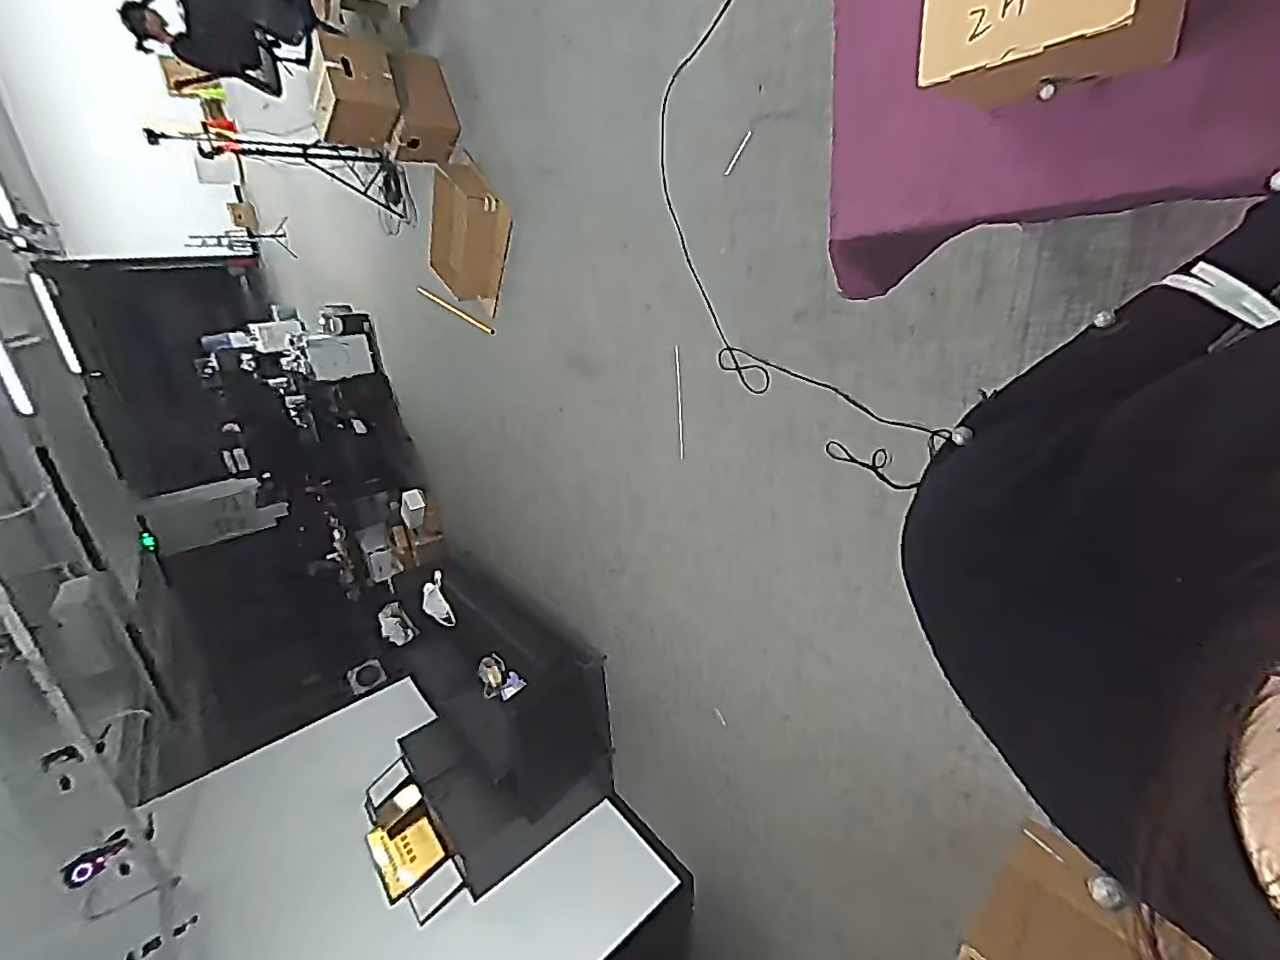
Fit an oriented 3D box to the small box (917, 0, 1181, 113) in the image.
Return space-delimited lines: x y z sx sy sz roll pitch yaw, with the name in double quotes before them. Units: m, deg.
"small box" 0.385 -0.471 0.500 0.168 0.176 0.179 19 120 48
